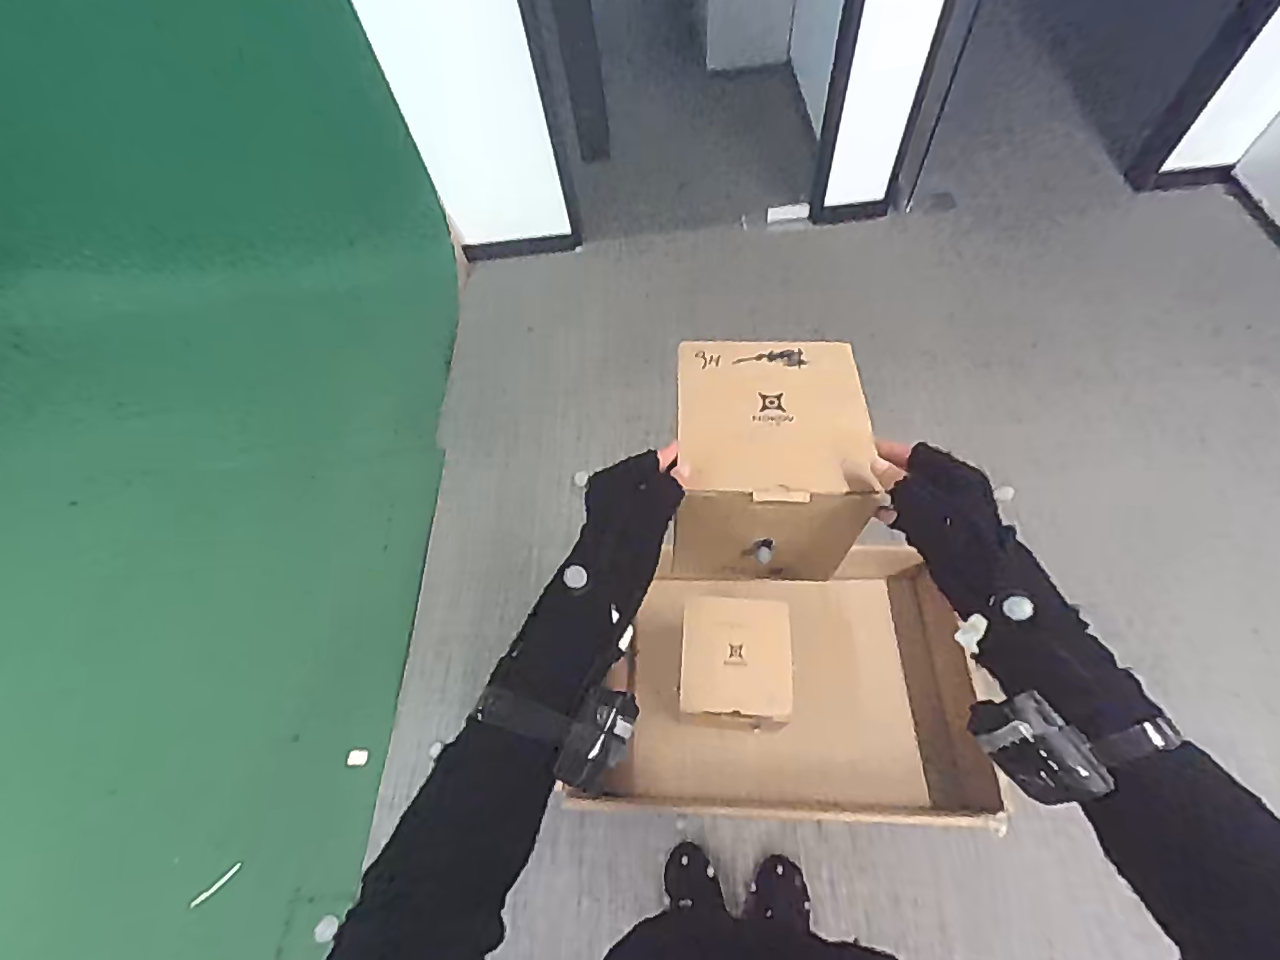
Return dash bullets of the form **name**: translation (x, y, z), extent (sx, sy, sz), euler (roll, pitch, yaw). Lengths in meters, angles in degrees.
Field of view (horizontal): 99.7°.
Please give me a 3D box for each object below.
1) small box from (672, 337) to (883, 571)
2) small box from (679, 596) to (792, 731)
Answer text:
- **small box**: translation (0.118, -0.019, 0.538), extent (0.168, 0.176, 0.179), euler (1, 58, 3)
- **small box**: translation (0.151, 0.306, 0.890), extent (0.168, 0.176, 0.179), euler (2, 58, 5)
